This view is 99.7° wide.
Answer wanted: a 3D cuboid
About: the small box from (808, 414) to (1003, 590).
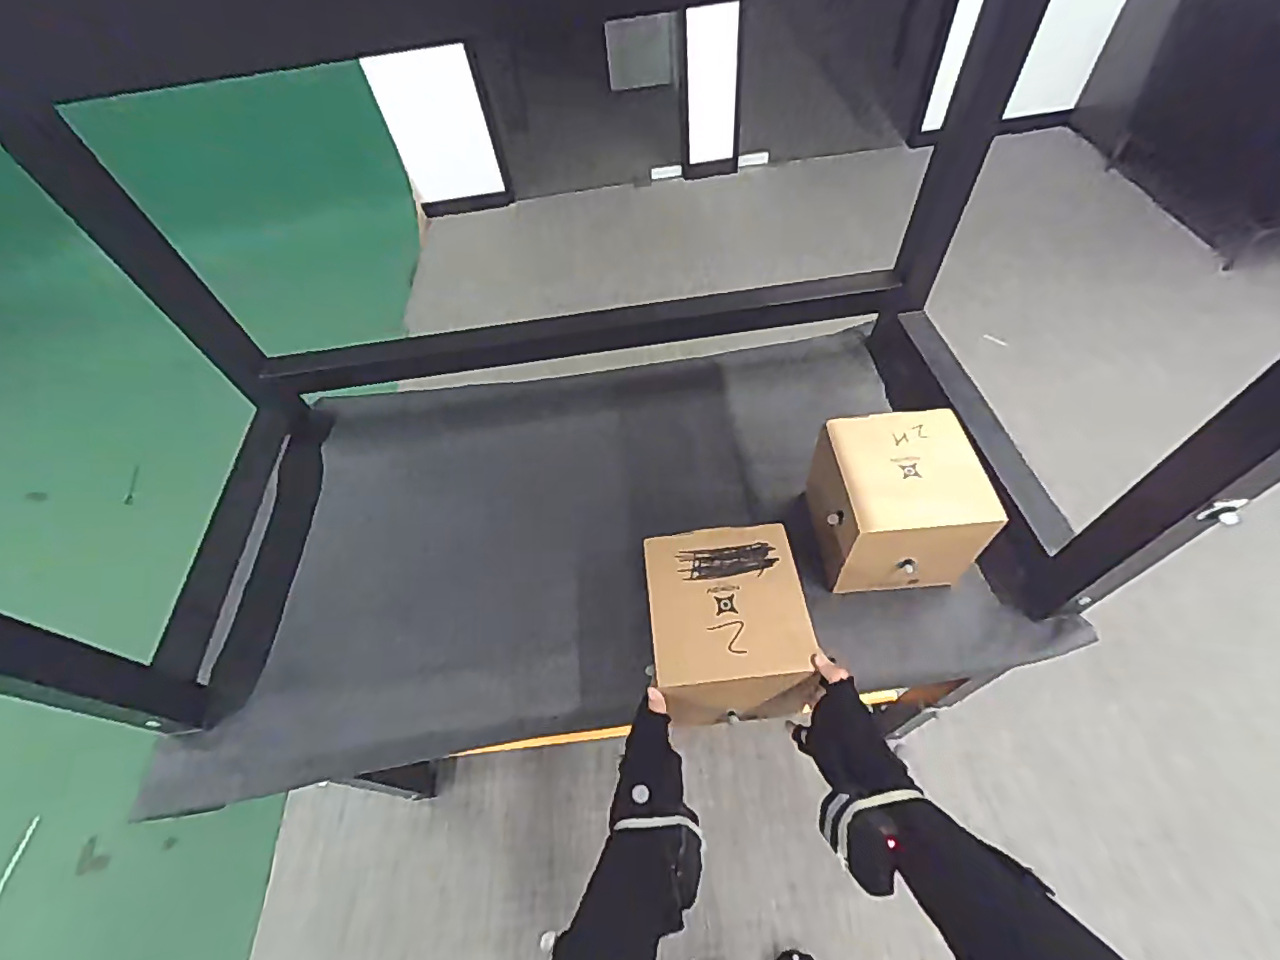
[{"bbox_3d":[0.333,0.038,0.722,0.168,0.176,0.179,-5,53,3],"label":"small box"}]
